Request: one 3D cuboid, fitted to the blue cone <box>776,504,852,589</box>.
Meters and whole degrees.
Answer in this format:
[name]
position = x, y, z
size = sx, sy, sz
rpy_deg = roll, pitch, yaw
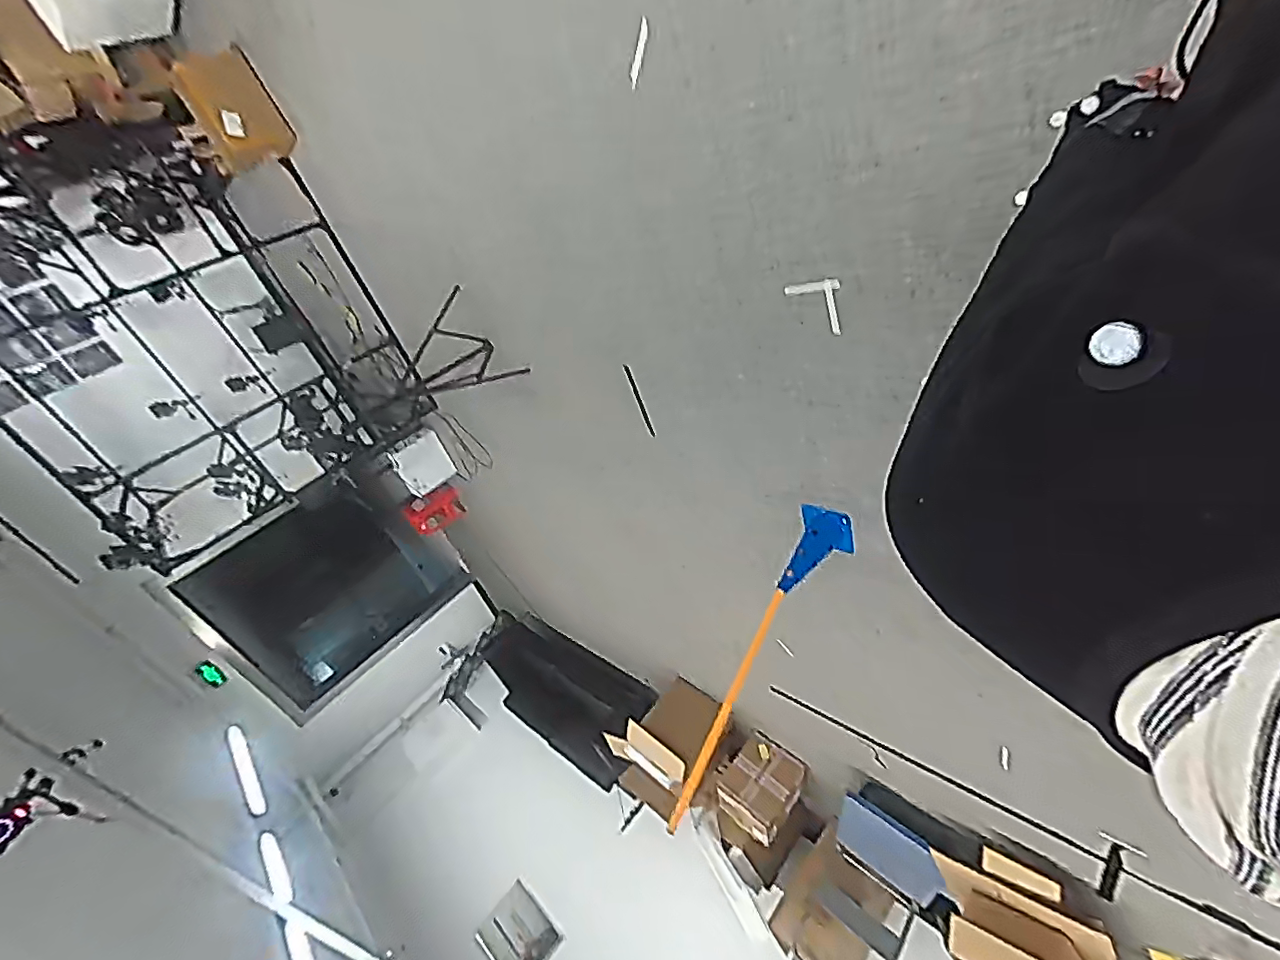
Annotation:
[blue cone]
position = 0.620, 0.276, 2.007
size = 0.193, 0.380, 0.192
rpy_deg = 17, 138, 42
